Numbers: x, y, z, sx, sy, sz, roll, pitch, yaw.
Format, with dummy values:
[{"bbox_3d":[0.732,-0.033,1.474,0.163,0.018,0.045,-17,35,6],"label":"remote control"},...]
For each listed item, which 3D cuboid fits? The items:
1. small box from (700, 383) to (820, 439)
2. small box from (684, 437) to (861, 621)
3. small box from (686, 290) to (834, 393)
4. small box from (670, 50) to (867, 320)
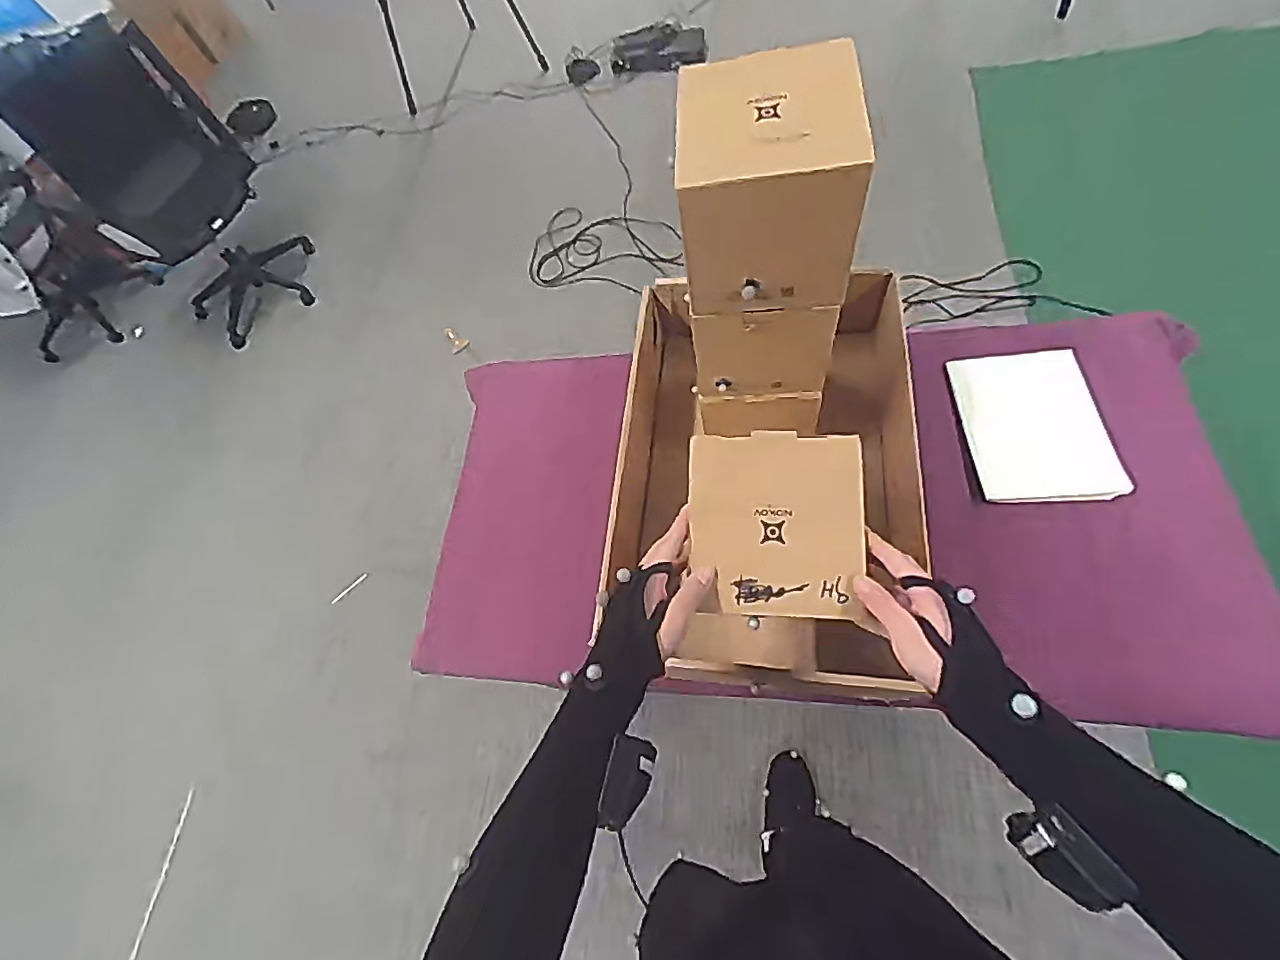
[{"bbox_3d":[0.183,-0.148,0.848,0.168,0.176,0.179,-1,66,11],"label":"small box"},{"bbox_3d":[0.139,0.059,0.600,0.168,0.176,0.179,1,79,9],"label":"small box"},{"bbox_3d":[0.153,-0.225,0.706,0.168,0.176,0.179,-1,64,11],"label":"small box"},{"bbox_3d":[0.125,-0.293,0.560,0.168,0.176,0.179,-1,66,11],"label":"small box"}]
